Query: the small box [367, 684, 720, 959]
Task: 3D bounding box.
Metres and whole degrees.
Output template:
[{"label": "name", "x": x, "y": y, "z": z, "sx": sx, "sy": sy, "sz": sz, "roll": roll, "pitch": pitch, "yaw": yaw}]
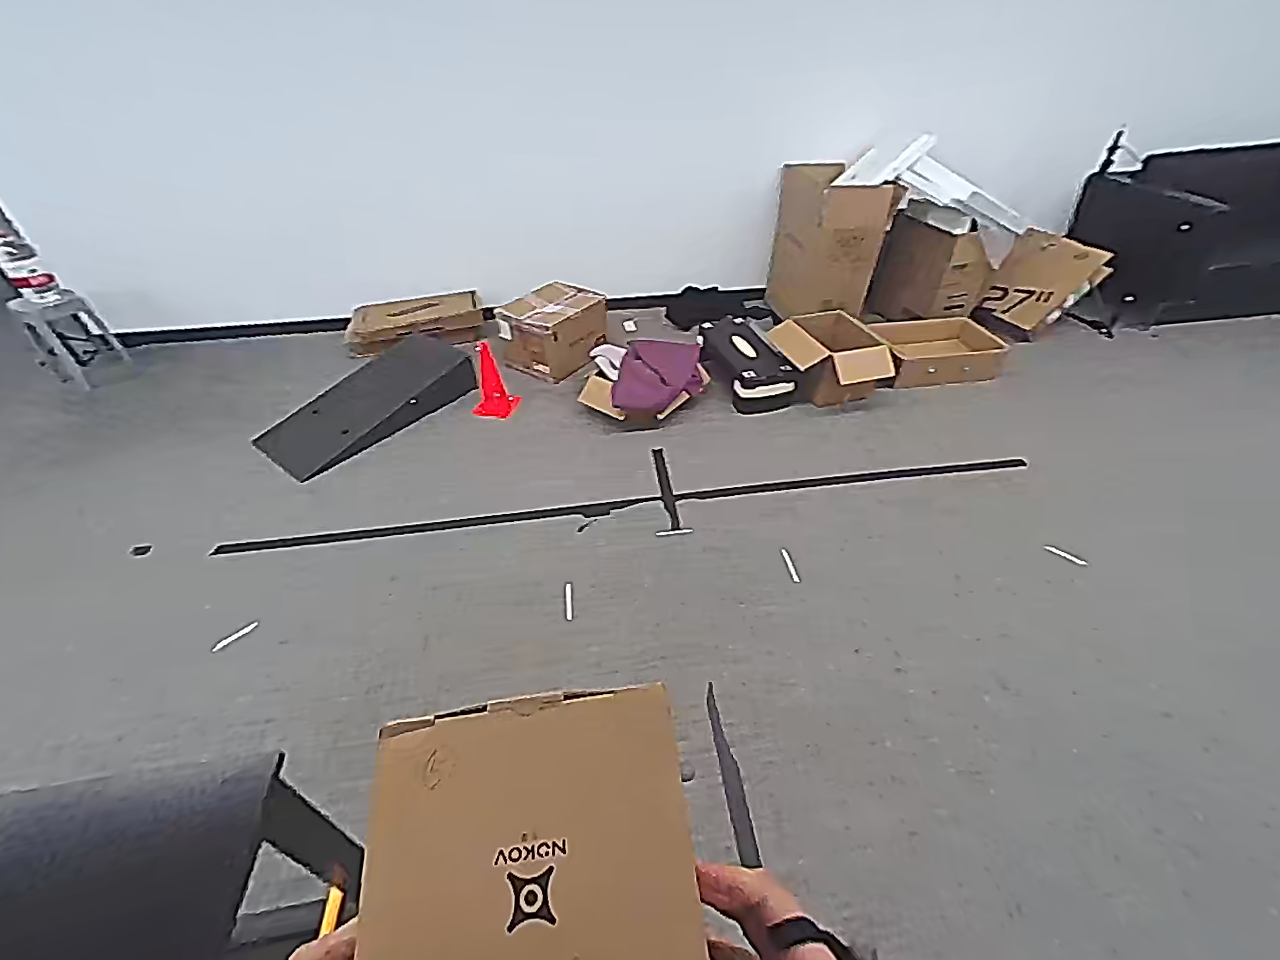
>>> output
[{"label": "small box", "x": -0.049, "y": 0.244, "z": 0.335, "sx": 0.168, "sy": 0.176, "sz": 0.179, "roll": -7, "pitch": 58, "yaw": -4}]
